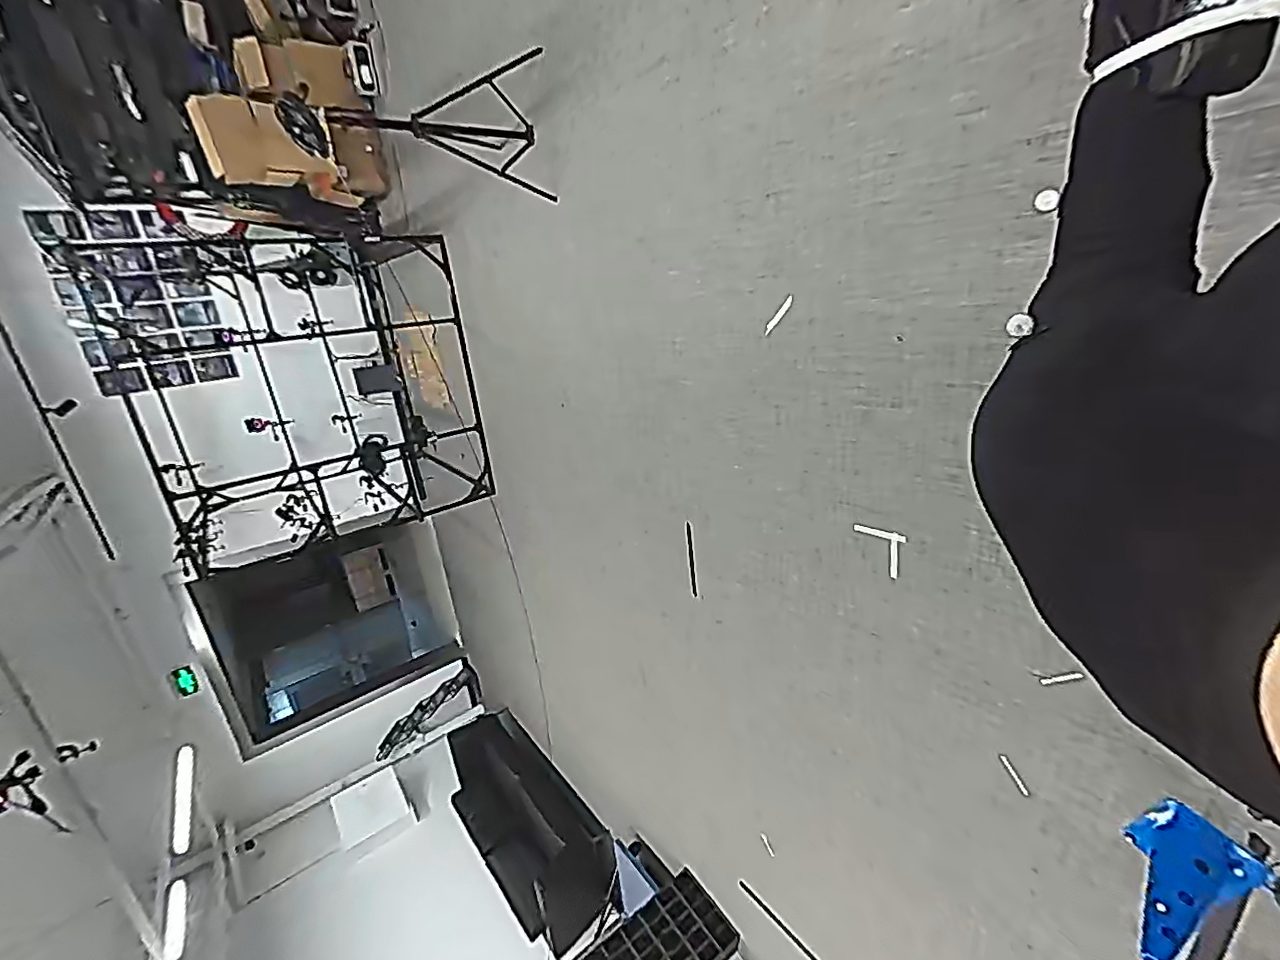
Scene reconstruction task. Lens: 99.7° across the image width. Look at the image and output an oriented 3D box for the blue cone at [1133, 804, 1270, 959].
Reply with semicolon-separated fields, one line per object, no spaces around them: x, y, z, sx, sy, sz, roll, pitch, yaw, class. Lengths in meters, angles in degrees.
1.210;0.935;1.213;0.193;0.380;0.192;43;138;37;blue cone
